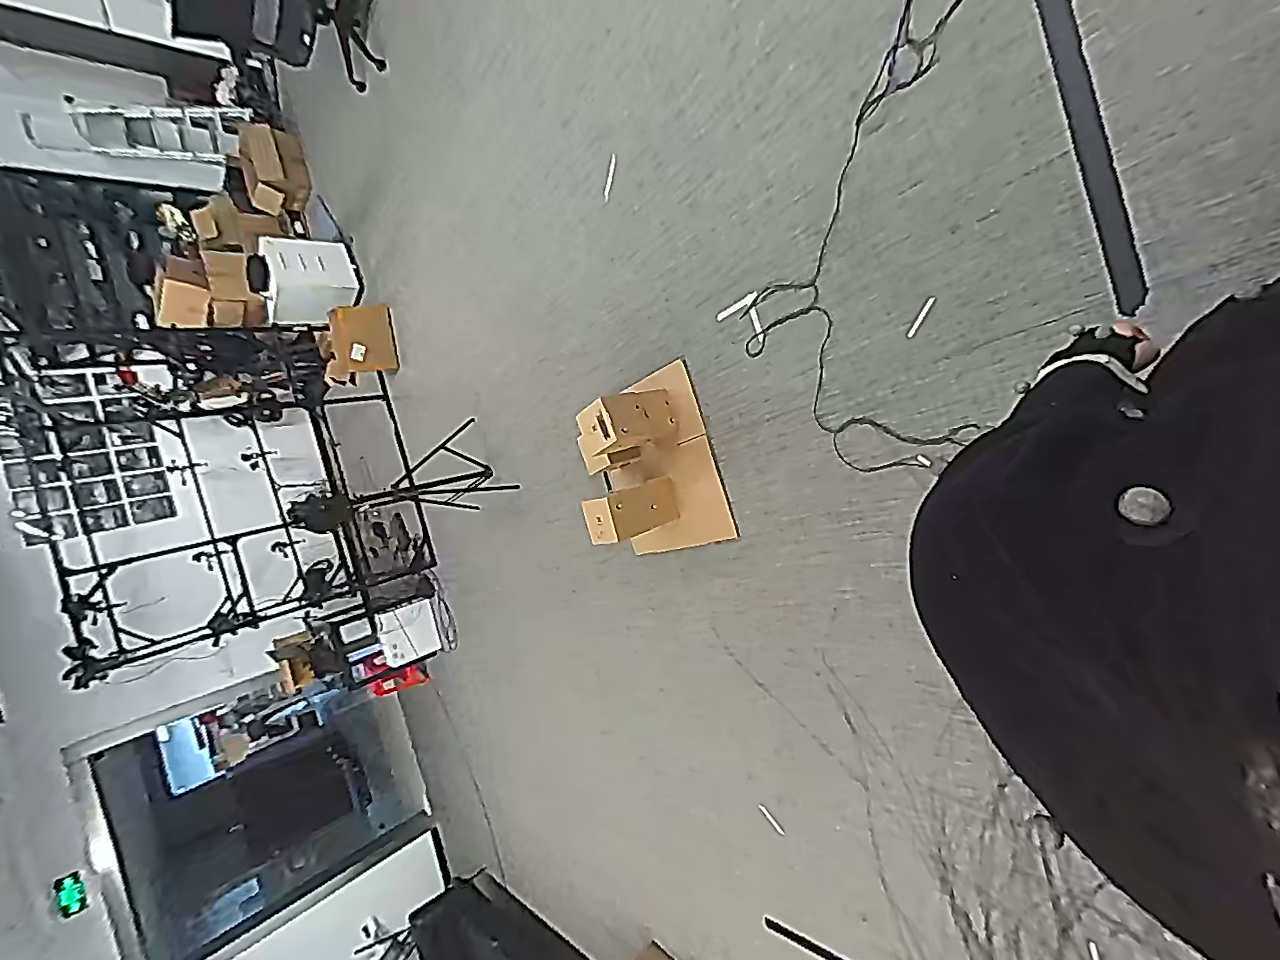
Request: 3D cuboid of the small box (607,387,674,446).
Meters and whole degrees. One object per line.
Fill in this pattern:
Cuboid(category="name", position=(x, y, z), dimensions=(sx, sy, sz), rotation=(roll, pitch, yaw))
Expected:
Cuboid(category="small box", position=(0.009, -0.246, 2.067), dimensions=(0.179, 0.176, 0.168), rotation=(-25, 84, 49))

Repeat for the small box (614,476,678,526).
Cuboid(category="small box", position=(0.023, 0.086, 2.159), dimensions=(0.168, 0.176, 0.179), rotation=(-13, 94, 49))

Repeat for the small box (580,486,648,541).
Cuboid(category="small box", position=(-0.096, 0.124, 2.052), dimensions=(0.168, 0.176, 0.179), rotation=(-11, 95, 49))

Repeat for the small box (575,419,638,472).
Cuboid(category="small box", position=(-0.138, -0.153, 2.263), dimensions=(0.168, 0.176, 0.179), rotation=(-25, 84, 50))
